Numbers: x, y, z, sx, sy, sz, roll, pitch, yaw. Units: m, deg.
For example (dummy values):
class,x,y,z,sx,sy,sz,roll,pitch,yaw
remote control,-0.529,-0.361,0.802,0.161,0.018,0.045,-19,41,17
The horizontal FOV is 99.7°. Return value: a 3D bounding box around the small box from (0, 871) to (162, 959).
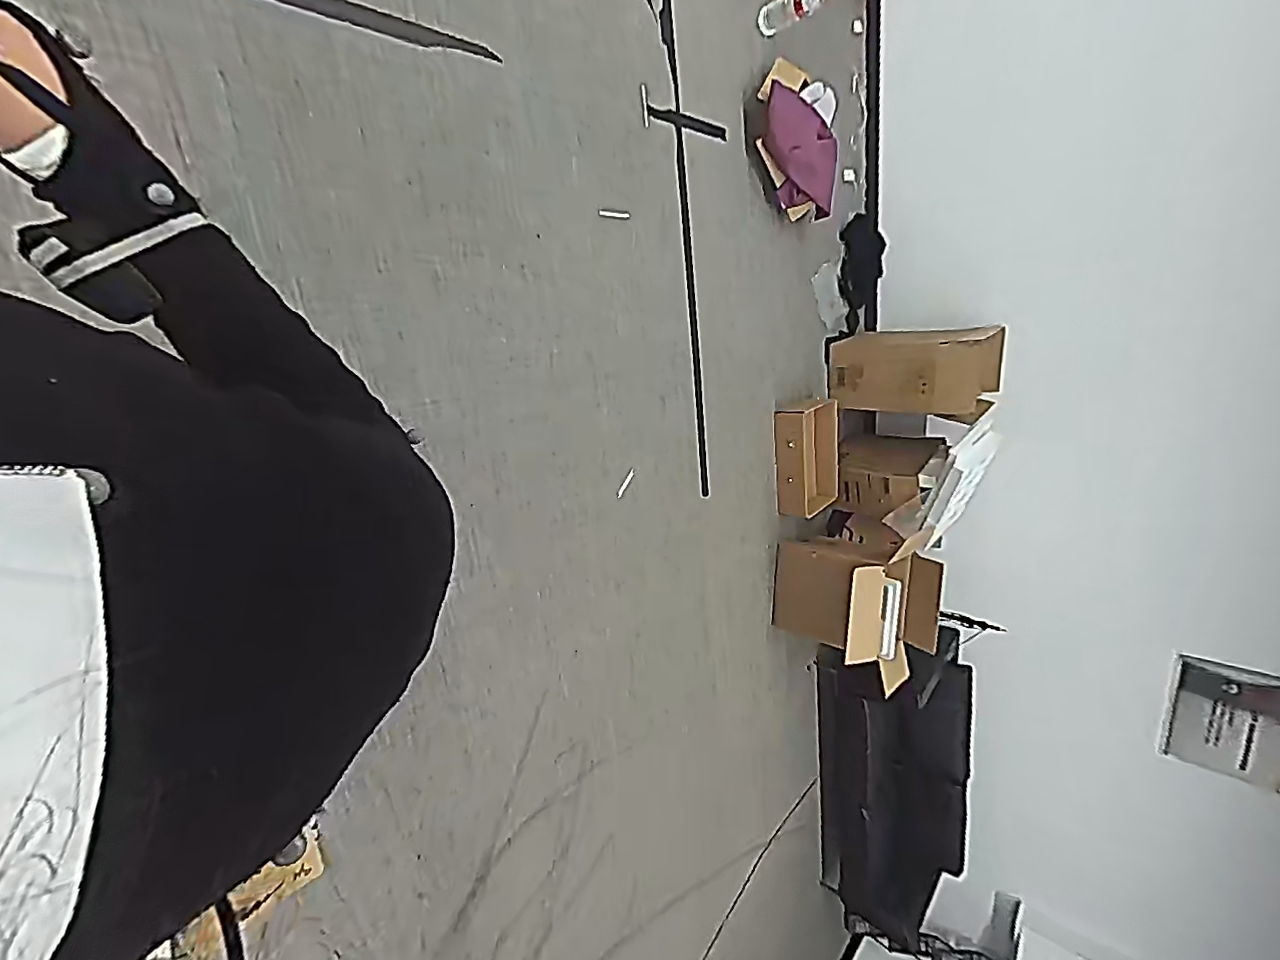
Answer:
class,x,y,z,sx,sy,sz,roll,pitch,yaw
small box,-0.658,0.610,0.616,0.168,0.176,0.179,-12,104,-44
